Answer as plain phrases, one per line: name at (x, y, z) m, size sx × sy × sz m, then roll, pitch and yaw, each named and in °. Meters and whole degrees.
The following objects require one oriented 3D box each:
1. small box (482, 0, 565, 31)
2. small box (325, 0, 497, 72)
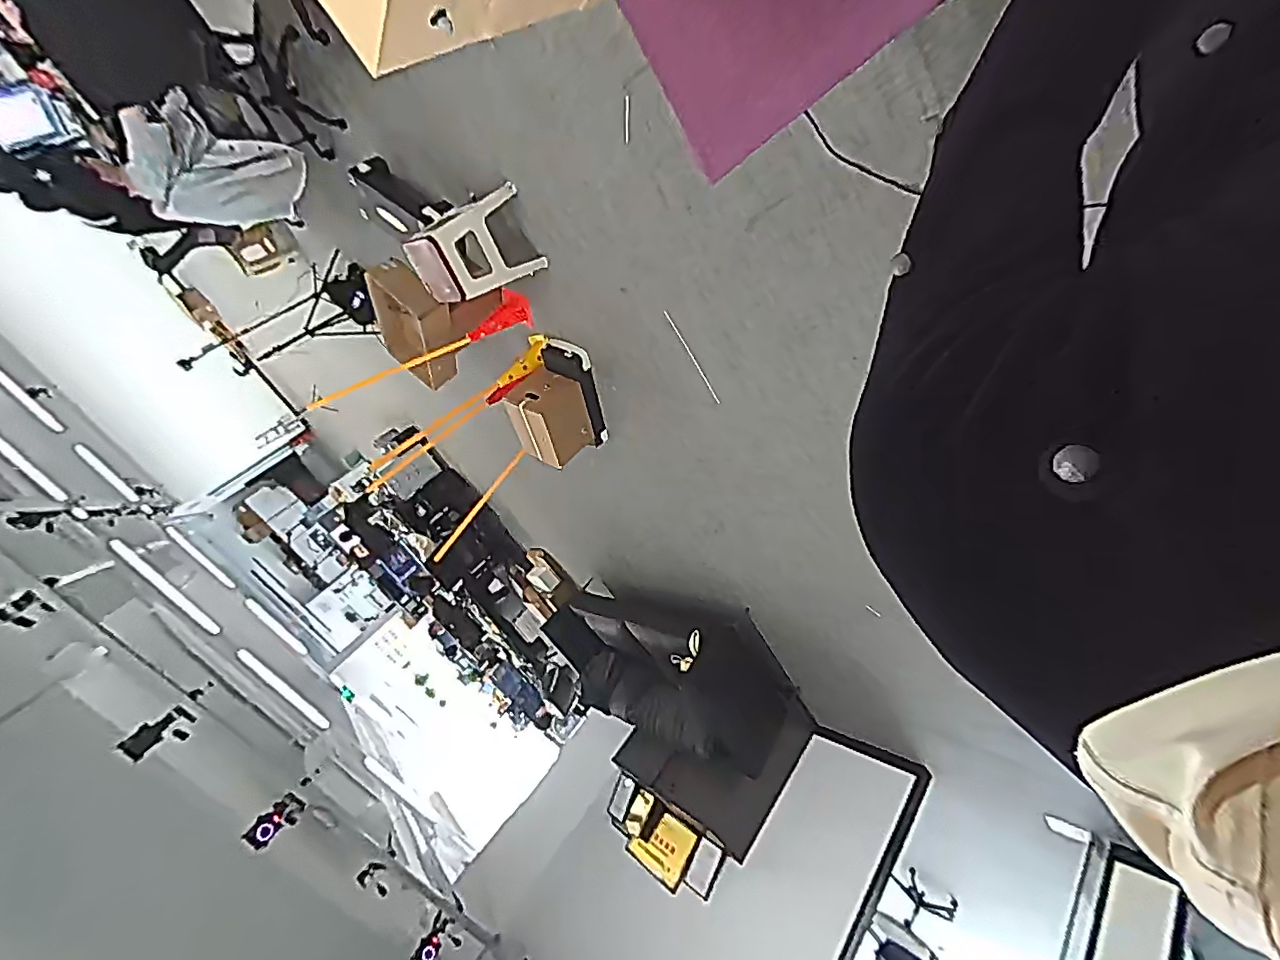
small box at (-0.138, -0.669, 0.607) m, size 0.179 × 0.176 × 0.168 m, roll 53°, pitch 152°, yaw -17°
small box at (-0.239, -0.566, 0.533) m, size 0.179 × 0.176 × 0.168 m, roll 54°, pitch 152°, yaw -16°
